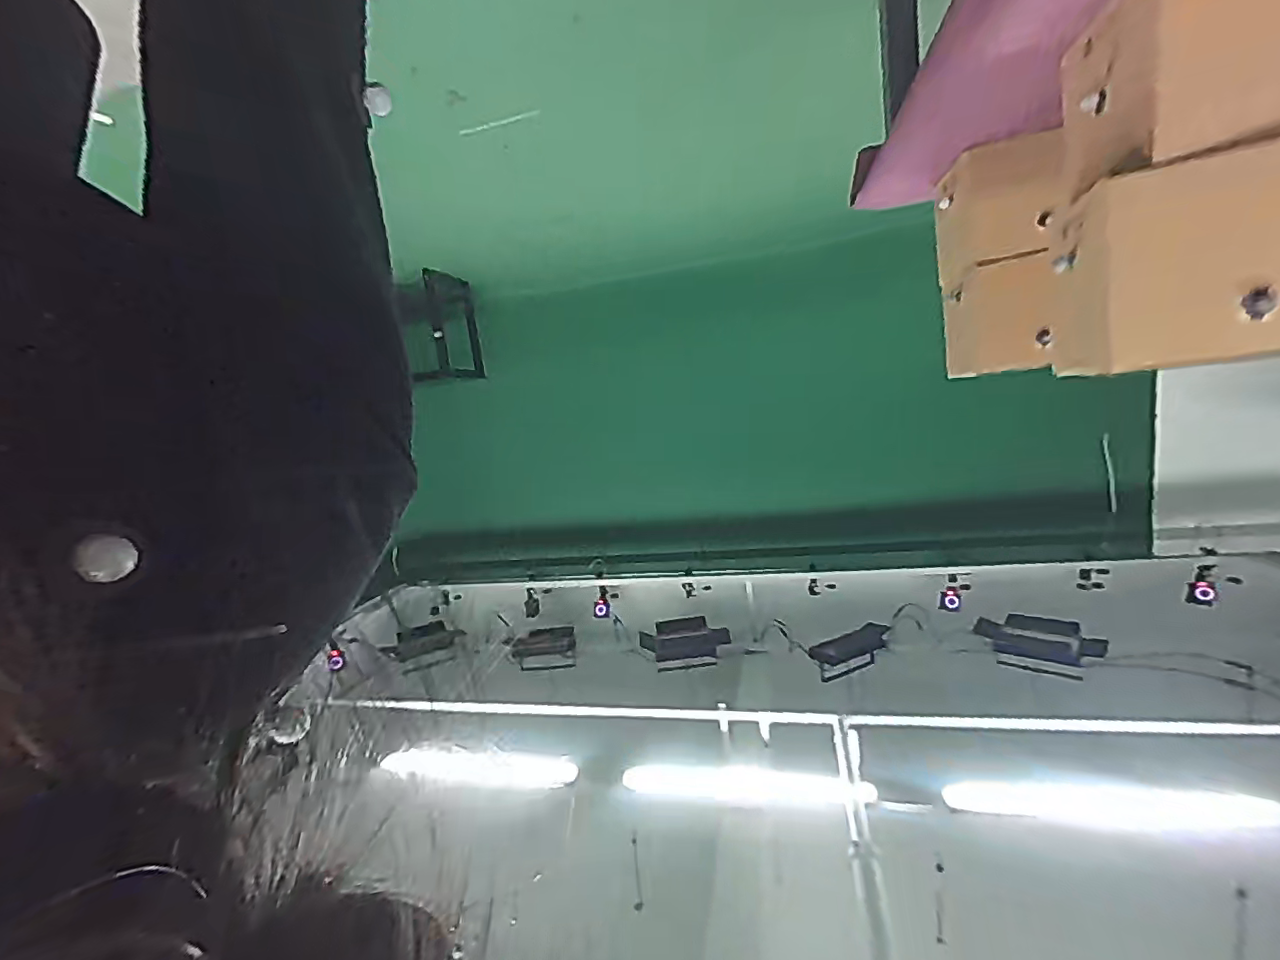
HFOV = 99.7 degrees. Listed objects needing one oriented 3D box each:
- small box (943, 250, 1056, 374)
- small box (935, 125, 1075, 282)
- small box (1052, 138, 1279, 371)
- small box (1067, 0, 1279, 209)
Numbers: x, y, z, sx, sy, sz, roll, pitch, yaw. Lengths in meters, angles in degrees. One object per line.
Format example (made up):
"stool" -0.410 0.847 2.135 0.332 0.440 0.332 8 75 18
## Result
"small box" 0.610 -0.269 0.870 0.179 0.176 0.168 -6 -173 16
"small box" 0.587 -0.429 0.853 0.179 0.176 0.168 -6 -172 14
"small box" 0.517 -0.200 0.506 0.179 0.176 0.168 -4 -172 24
"small box" 0.519 -0.366 0.482 0.179 0.176 0.168 -5 -171 17
